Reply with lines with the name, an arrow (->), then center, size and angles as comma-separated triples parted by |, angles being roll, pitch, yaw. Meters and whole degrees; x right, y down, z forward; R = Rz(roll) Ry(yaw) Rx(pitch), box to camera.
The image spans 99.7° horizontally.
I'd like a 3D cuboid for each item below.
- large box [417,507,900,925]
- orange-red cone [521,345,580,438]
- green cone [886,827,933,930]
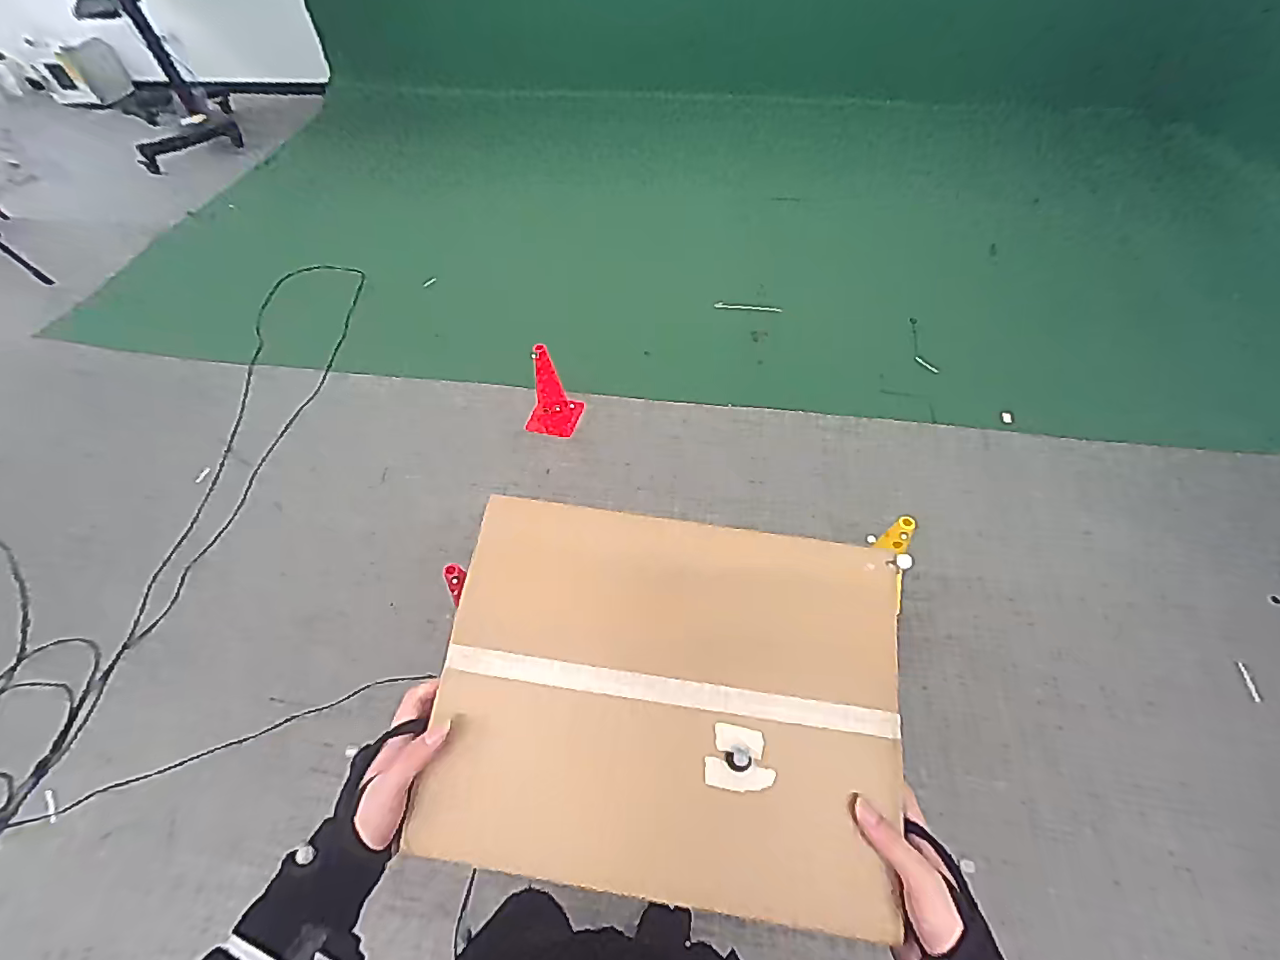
large box -> 0.027, 0.244, 0.628 | 0.408, 0.320, 0.320 | 8, 70, 3
orange-red cone -> -0.367, -0.356, 2.035 | 0.199, 0.360, 0.198 | 11, 54, 12
green cone -> 0.533, 0.812, 1.144 | 0.200, 0.368, 0.202 | 11, 53, 10
